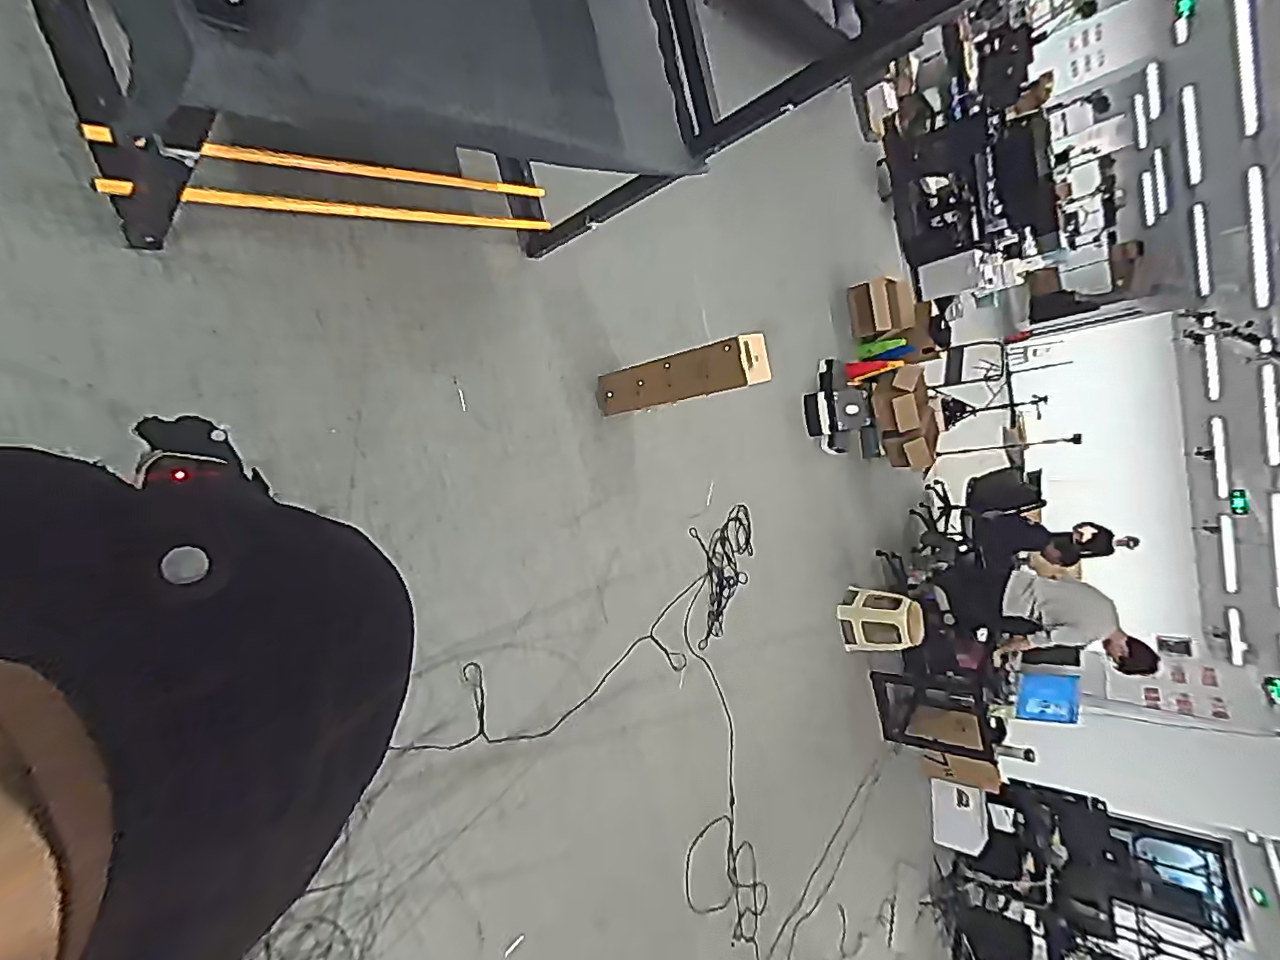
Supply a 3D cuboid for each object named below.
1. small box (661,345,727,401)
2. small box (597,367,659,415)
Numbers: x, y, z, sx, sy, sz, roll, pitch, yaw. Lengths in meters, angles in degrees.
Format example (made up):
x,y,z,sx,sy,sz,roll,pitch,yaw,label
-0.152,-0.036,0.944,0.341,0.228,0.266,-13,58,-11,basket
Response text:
x,y,z,sx,sy,sz,roll,pitch,yaw,label
0.194,-0.393,1.987,0.179,0.176,0.168,-19,100,-48,small box
-0.051,-0.364,2.202,0.179,0.176,0.168,-16,97,-48,small box
